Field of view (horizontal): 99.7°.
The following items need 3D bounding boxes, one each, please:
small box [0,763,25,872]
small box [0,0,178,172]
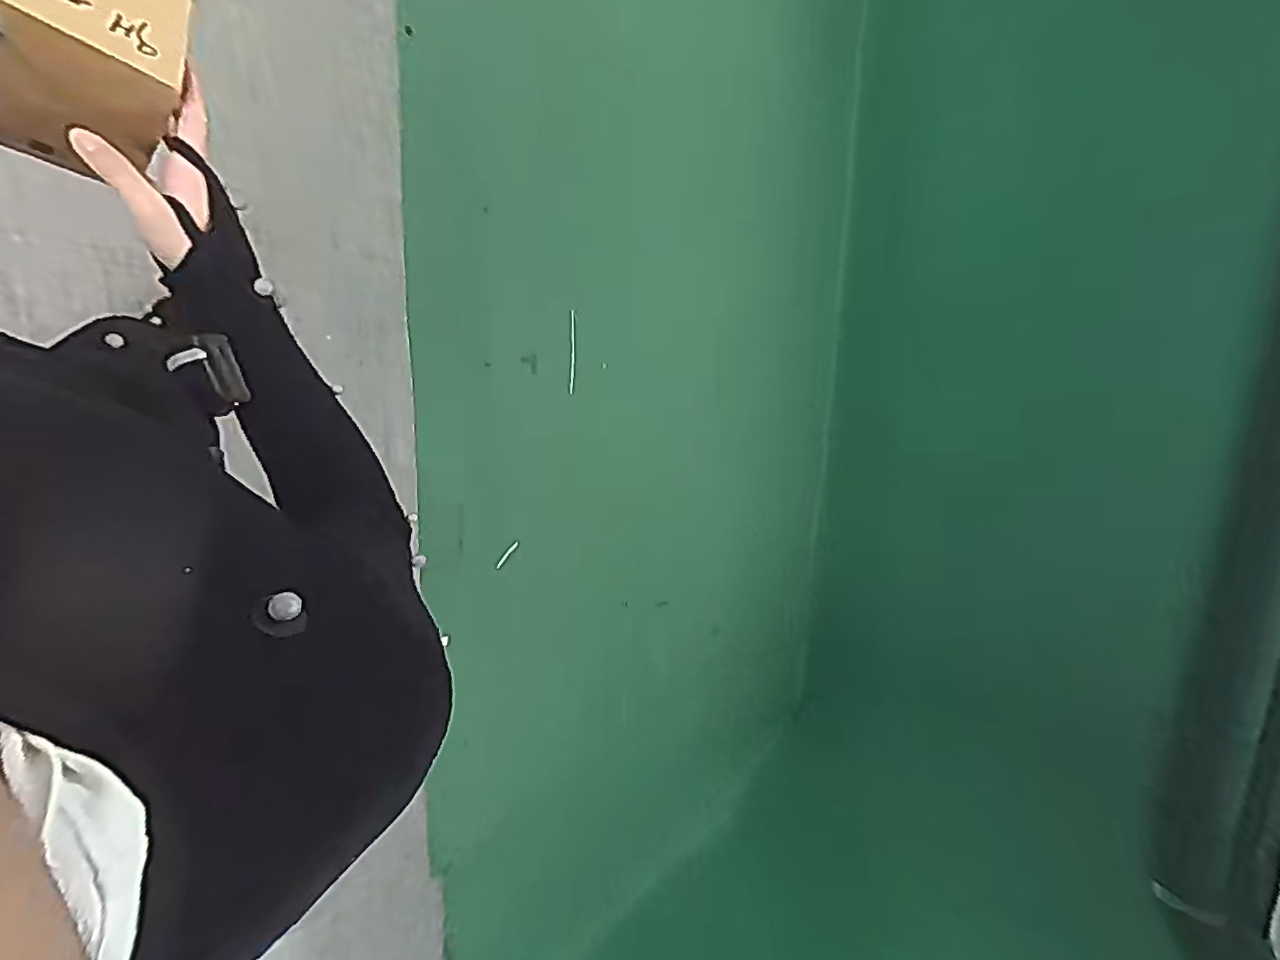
[{"bbox_3d":[-1.304,0.672,1.024,0.168,0.176,0.179,-8,105,-48],"label":"small box"},{"bbox_3d":[-0.468,-0.381,0.400,0.168,0.176,0.179,7,76,-51],"label":"small box"}]
